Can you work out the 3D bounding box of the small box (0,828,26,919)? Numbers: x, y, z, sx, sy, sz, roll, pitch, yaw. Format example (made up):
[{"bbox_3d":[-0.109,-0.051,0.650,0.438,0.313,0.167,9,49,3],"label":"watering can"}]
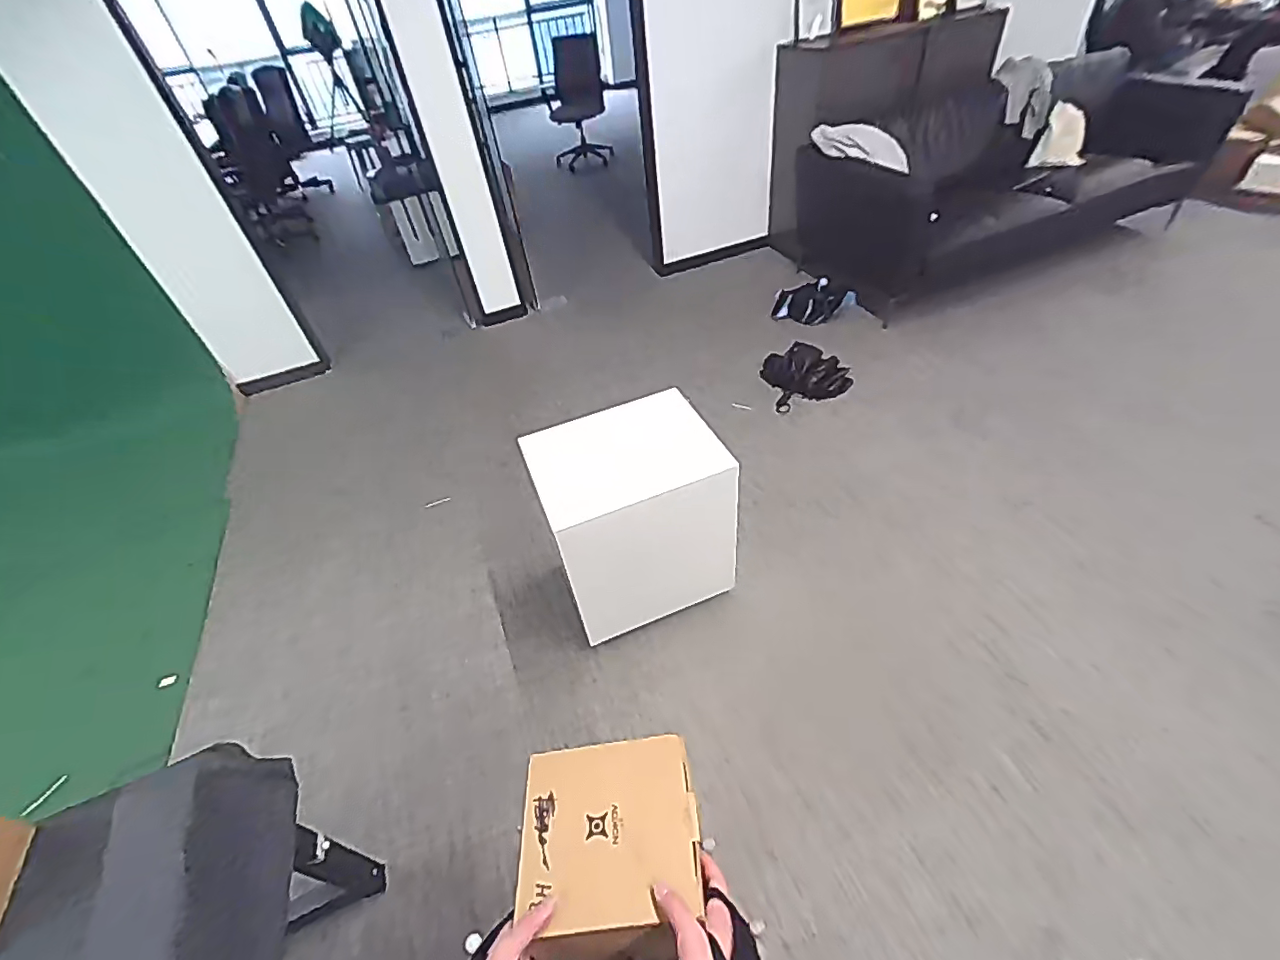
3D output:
[{"bbox_3d":[-0.950,0.545,0.673,0.168,0.176,0.179,-20,46,-10],"label":"small box"}]

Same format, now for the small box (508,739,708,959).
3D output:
[{"bbox_3d":[-0.024,0.407,0.585,0.179,0.176,0.168,-9,38,3],"label":"small box"}]
